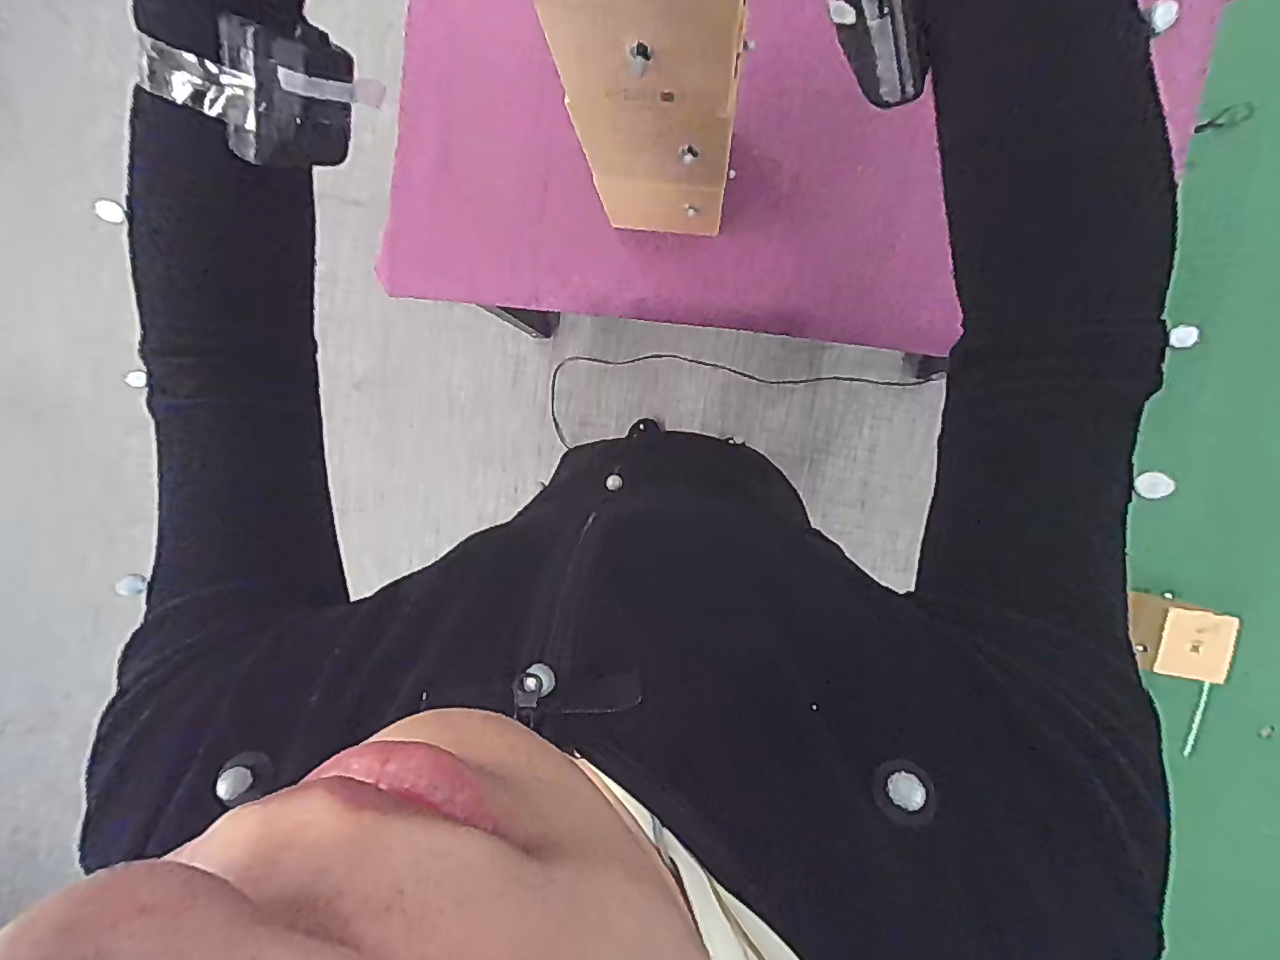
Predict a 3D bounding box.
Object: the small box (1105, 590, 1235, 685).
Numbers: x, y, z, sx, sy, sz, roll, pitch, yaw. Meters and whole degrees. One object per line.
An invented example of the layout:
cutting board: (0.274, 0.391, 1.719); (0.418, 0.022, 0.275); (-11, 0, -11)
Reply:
small box: (1.392, 0.410, 1.434); (0.168, 0.176, 0.179); (9, 96, 5)

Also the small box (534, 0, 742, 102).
small box: (0.009, -0.461, 0.462); (0.168, 0.176, 0.179); (7, 95, 5)

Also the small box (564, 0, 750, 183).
small box: (0.025, -0.468, 0.624); (0.179, 0.176, 0.168); (8, 95, 6)
